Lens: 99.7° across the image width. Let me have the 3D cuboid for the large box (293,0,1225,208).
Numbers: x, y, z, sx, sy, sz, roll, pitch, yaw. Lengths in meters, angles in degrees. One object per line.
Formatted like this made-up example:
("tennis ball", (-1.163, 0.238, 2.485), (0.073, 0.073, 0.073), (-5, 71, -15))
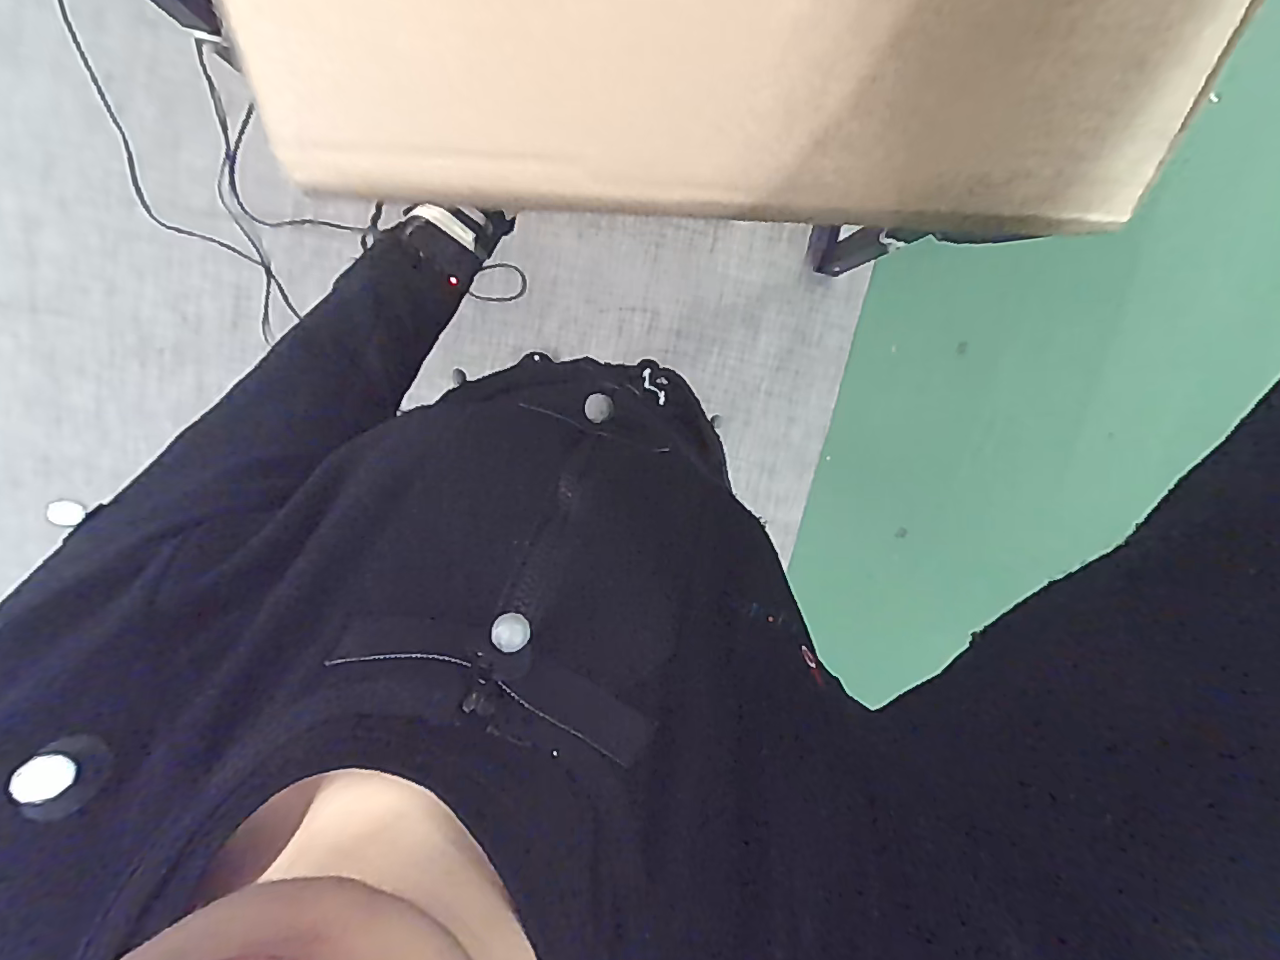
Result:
("large box", (0.033, -0.350, 0.261), (0.320, 0.408, 0.320), (1, 130, -1))
